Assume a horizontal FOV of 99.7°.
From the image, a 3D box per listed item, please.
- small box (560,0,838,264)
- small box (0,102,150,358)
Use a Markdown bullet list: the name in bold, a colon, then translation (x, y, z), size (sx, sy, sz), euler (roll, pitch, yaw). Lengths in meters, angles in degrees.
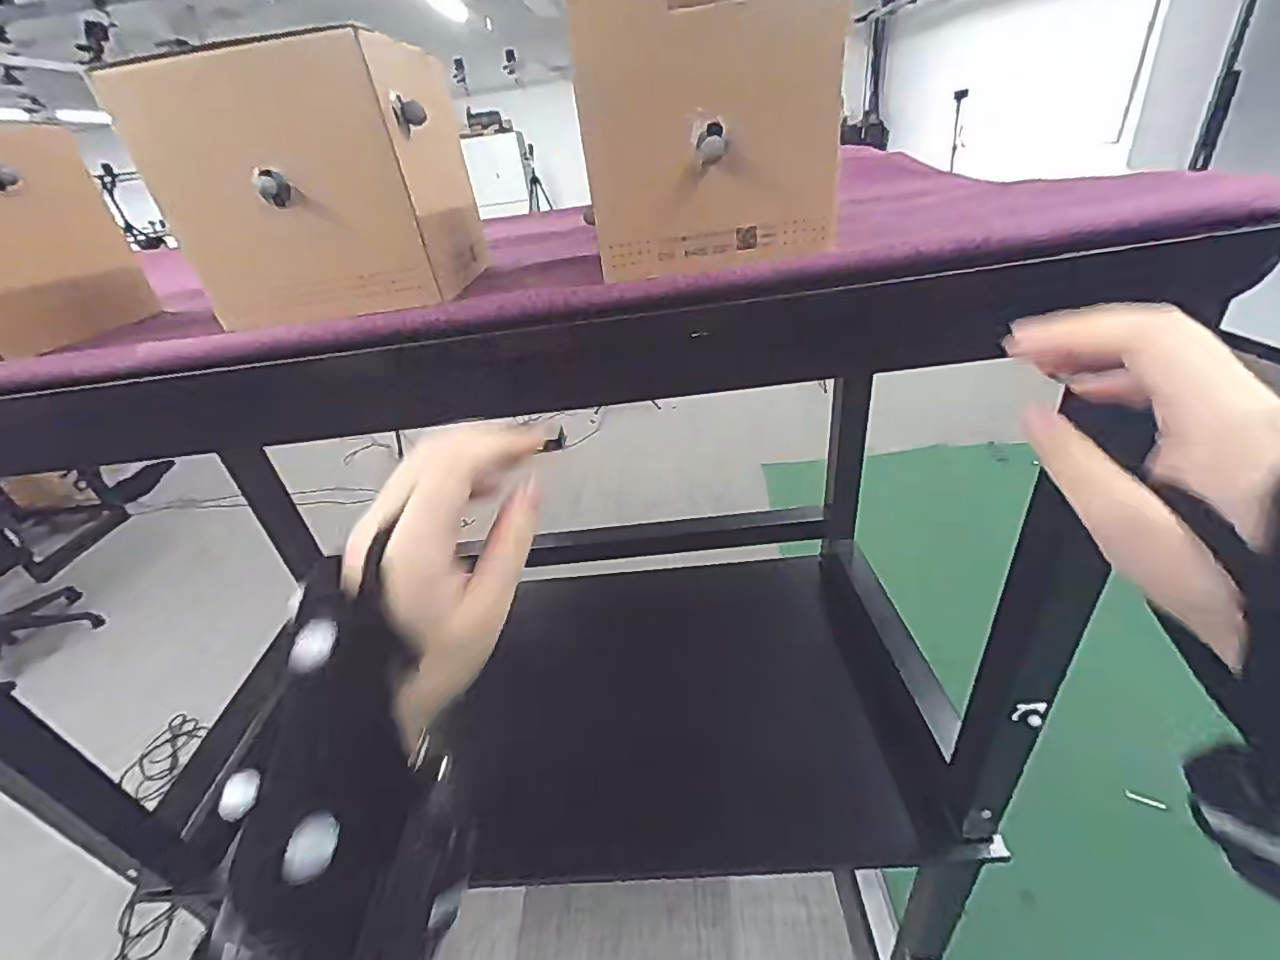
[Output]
- **small box**: translation (0.047, -0.271, 0.412), size (0.168, 0.176, 0.179), euler (-6, 33, 5)
- **small box**: translation (-0.565, -0.200, 0.441), size (0.168, 0.176, 0.179), euler (-7, 31, 0)
